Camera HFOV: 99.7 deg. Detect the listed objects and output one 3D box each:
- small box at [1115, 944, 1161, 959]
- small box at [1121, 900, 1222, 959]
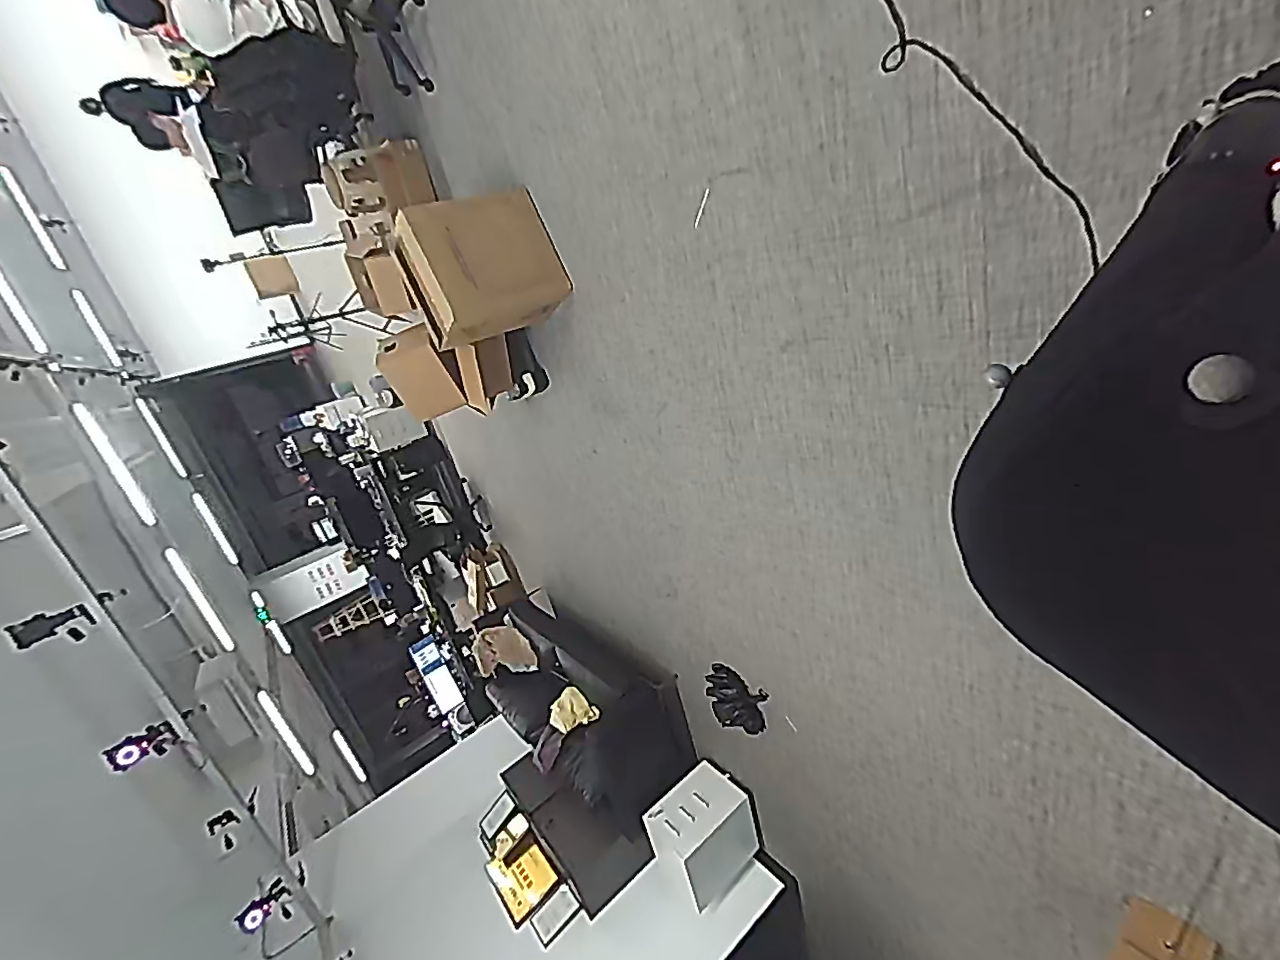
[{"bbox_3d":[1.383,1.412,1.457,0.179,0.176,0.168,15,126,52],"label":"small box"},{"bbox_3d":[1.511,1.356,1.542,0.179,0.176,0.168,11,123,52],"label":"small box"}]
